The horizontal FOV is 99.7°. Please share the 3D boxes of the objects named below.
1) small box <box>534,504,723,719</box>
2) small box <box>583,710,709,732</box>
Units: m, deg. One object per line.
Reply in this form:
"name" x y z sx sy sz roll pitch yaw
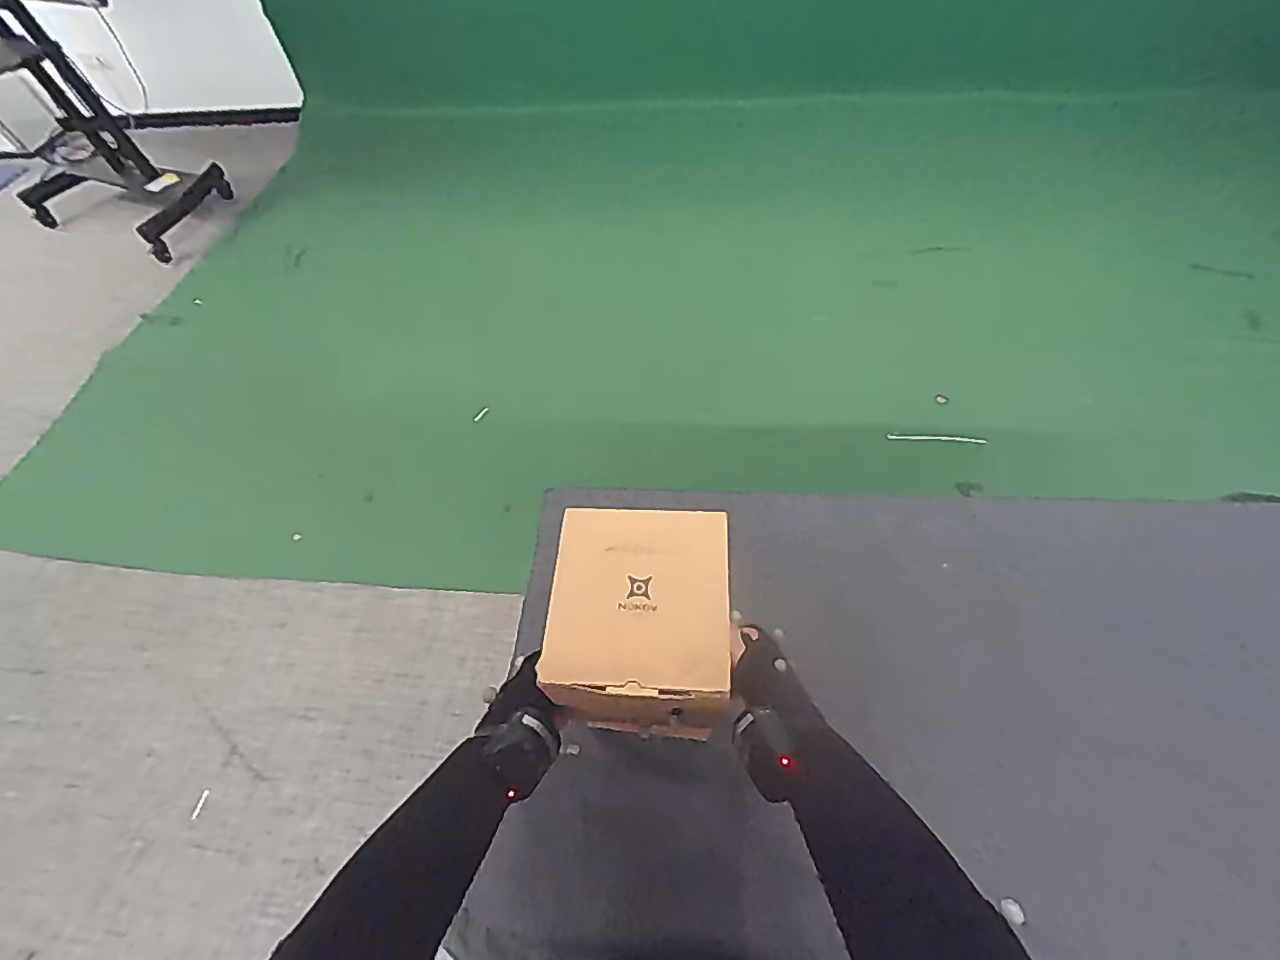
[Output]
"small box" 0.000 0.143 0.566 0.168 0.176 0.179 1 55 4
"small box" 0.012 0.222 0.709 0.168 0.176 0.179 3 57 6
